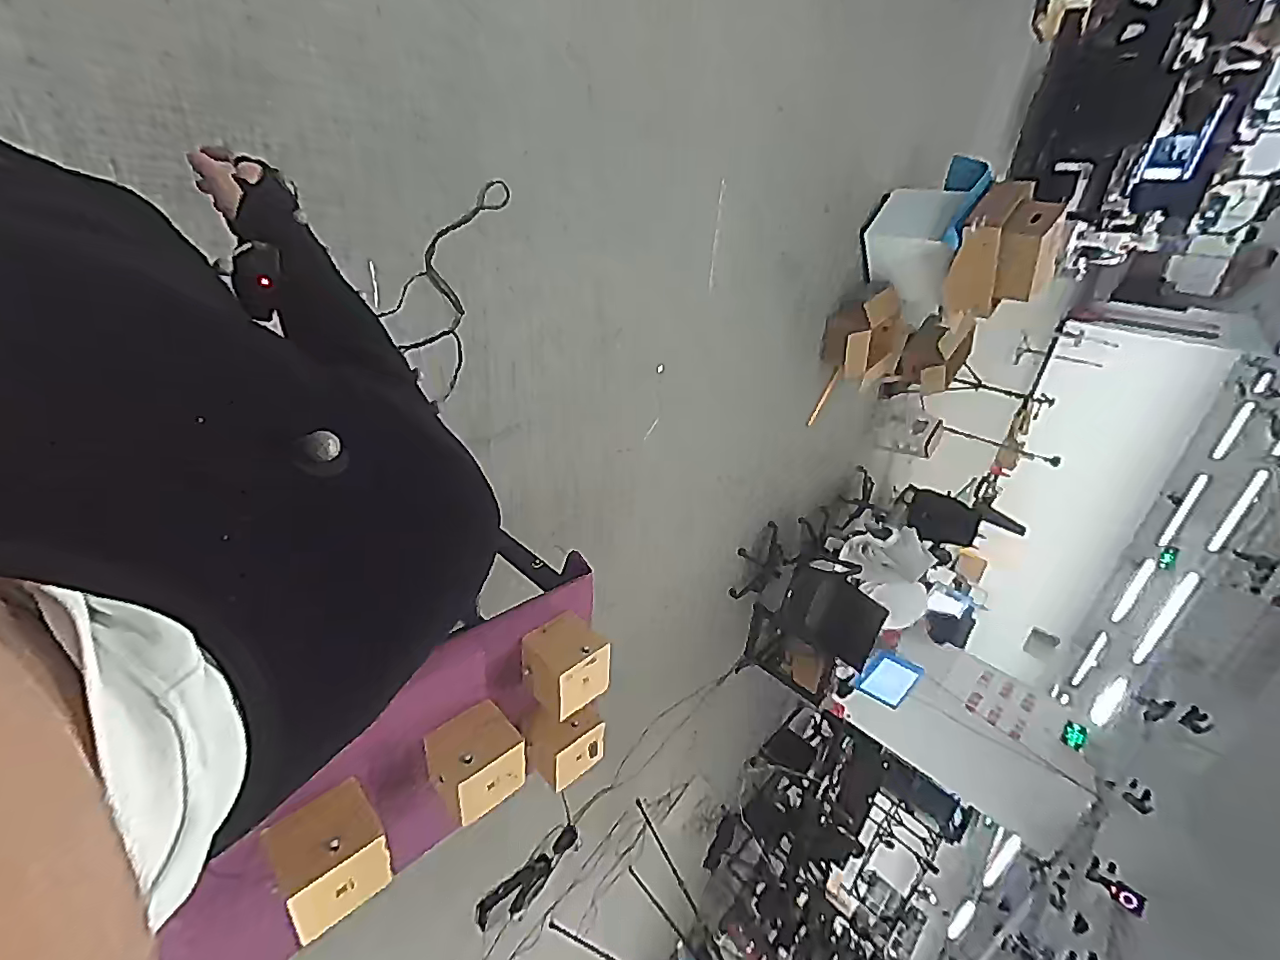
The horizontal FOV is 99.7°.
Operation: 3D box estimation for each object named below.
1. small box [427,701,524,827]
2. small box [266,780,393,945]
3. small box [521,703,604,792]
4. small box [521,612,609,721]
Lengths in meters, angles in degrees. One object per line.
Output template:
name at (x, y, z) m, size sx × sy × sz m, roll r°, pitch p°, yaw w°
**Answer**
small box at (-0.405, 0.686, 1.325) m, size 0.179 × 0.176 × 0.168 m, roll -21°, pitch 128°, yaw -42°
small box at (-0.637, 0.770, 1.106) m, size 0.179 × 0.176 × 0.168 m, roll -22°, pitch 127°, yaw -43°
small box at (-0.228, 0.745, 1.572) m, size 0.179 × 0.176 × 0.168 m, roll -21°, pitch 127°, yaw -41°
small box at (-0.203, 0.488, 1.438) m, size 0.168 × 0.176 × 0.179 m, roll -24°, pitch 130°, yaw -40°
